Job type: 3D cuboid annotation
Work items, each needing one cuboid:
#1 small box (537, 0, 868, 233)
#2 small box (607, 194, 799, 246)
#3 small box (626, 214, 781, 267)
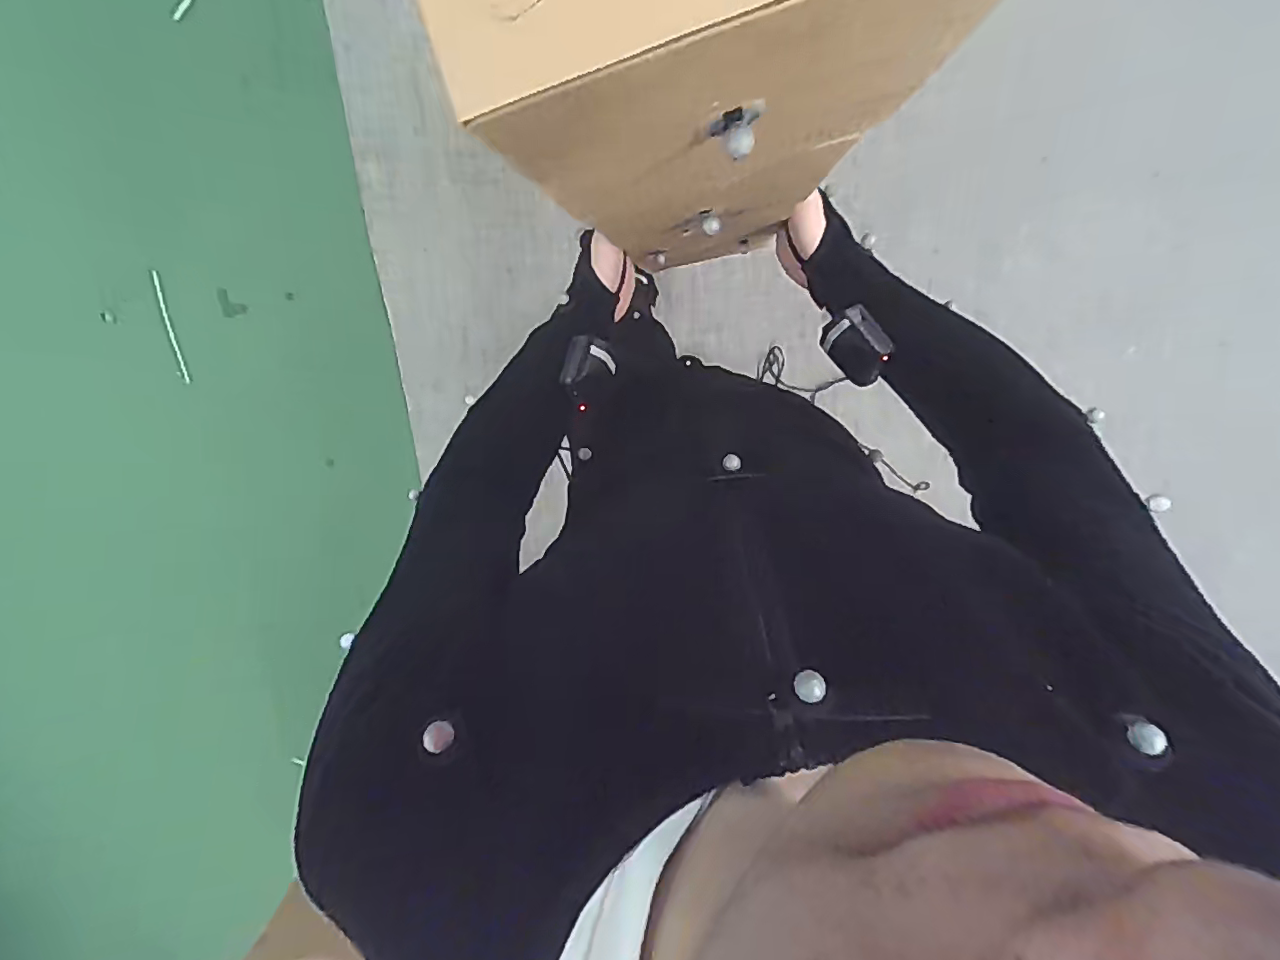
[{"bbox_3d":[0.034,-0.279,0.350,0.168,0.176,0.179,-8,105,9],"label":"small box"},{"bbox_3d":[0.051,-0.328,0.506,0.168,0.176,0.179,-7,104,8],"label":"small box"},{"bbox_3d":[0.067,-0.369,0.665,0.179,0.176,0.168,-9,105,8],"label":"small box"}]
